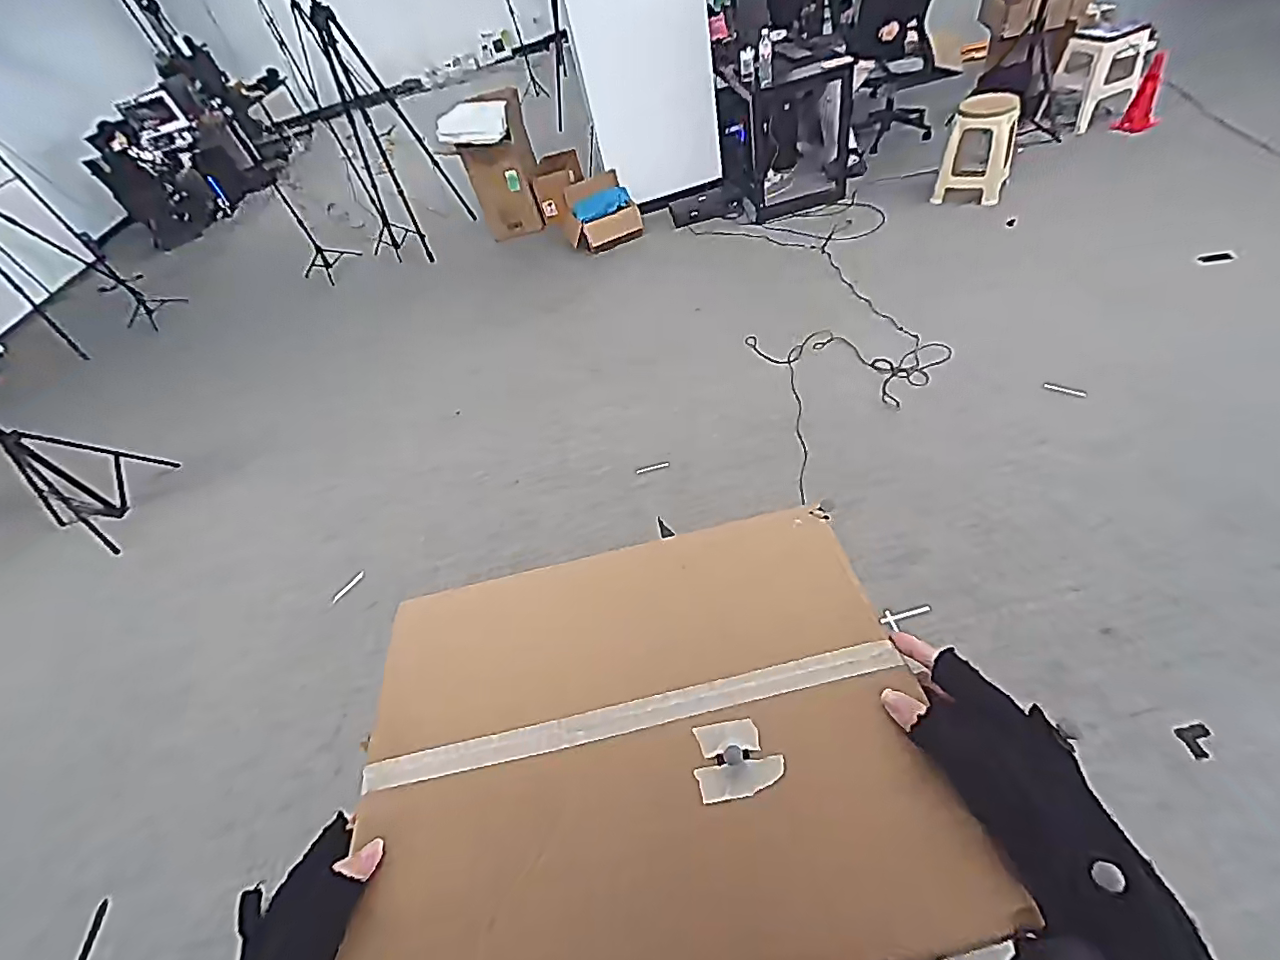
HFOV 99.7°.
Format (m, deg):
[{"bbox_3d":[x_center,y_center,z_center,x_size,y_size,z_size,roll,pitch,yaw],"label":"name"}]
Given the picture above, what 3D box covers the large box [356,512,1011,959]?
[{"bbox_3d":[0.022,0.284,0.516,0.408,0.320,0.320,-13,45,0],"label":"large box"}]
